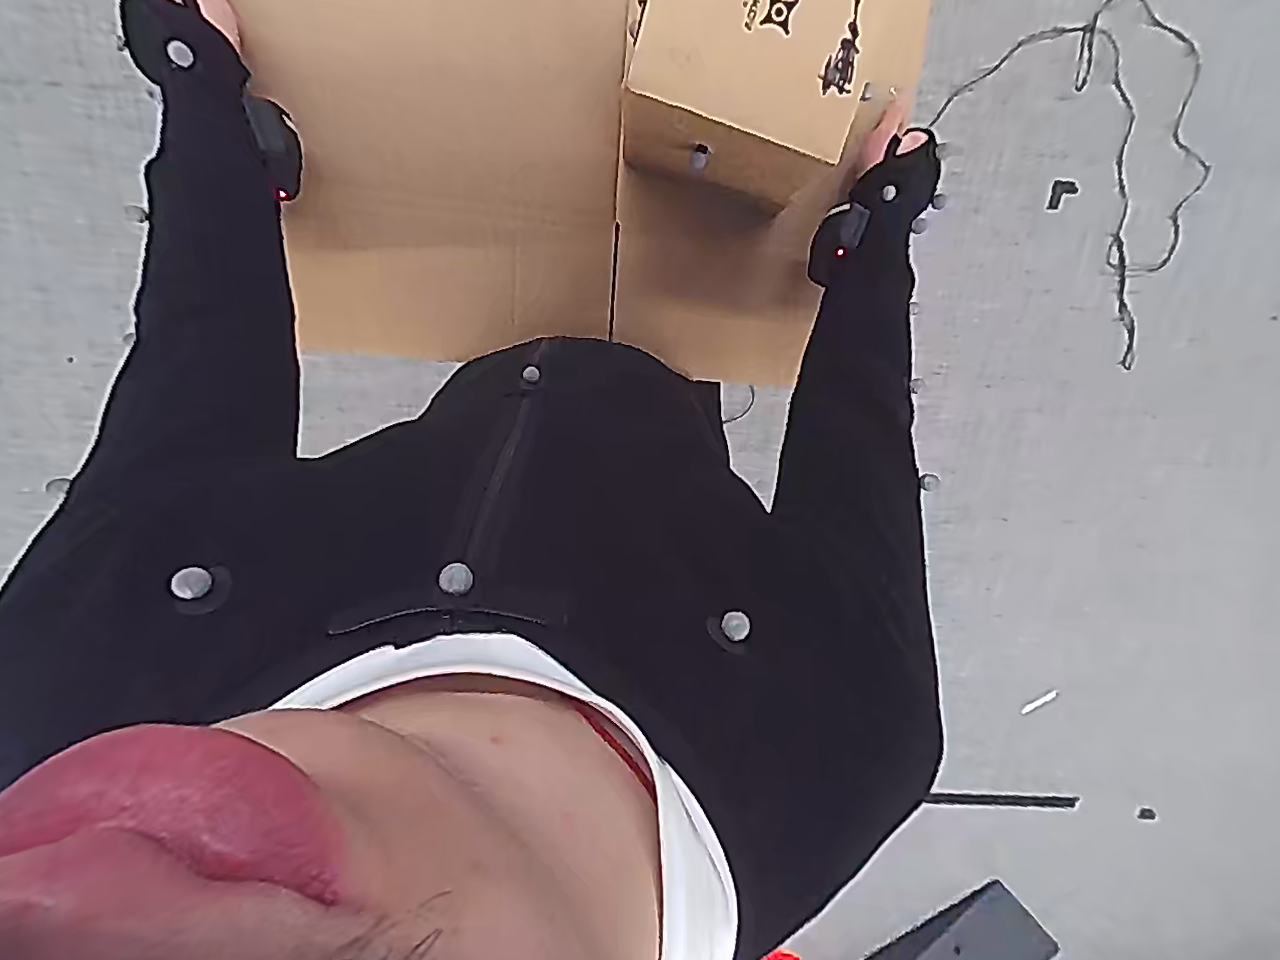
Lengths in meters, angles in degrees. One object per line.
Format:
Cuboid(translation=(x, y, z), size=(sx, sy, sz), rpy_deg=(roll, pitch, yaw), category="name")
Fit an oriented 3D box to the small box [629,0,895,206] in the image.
Cuboid(translation=(0.096, -0.368, 0.480), size=(0.179, 0.176, 0.168), rpy_deg=(16, 103, -5), category="small box")
